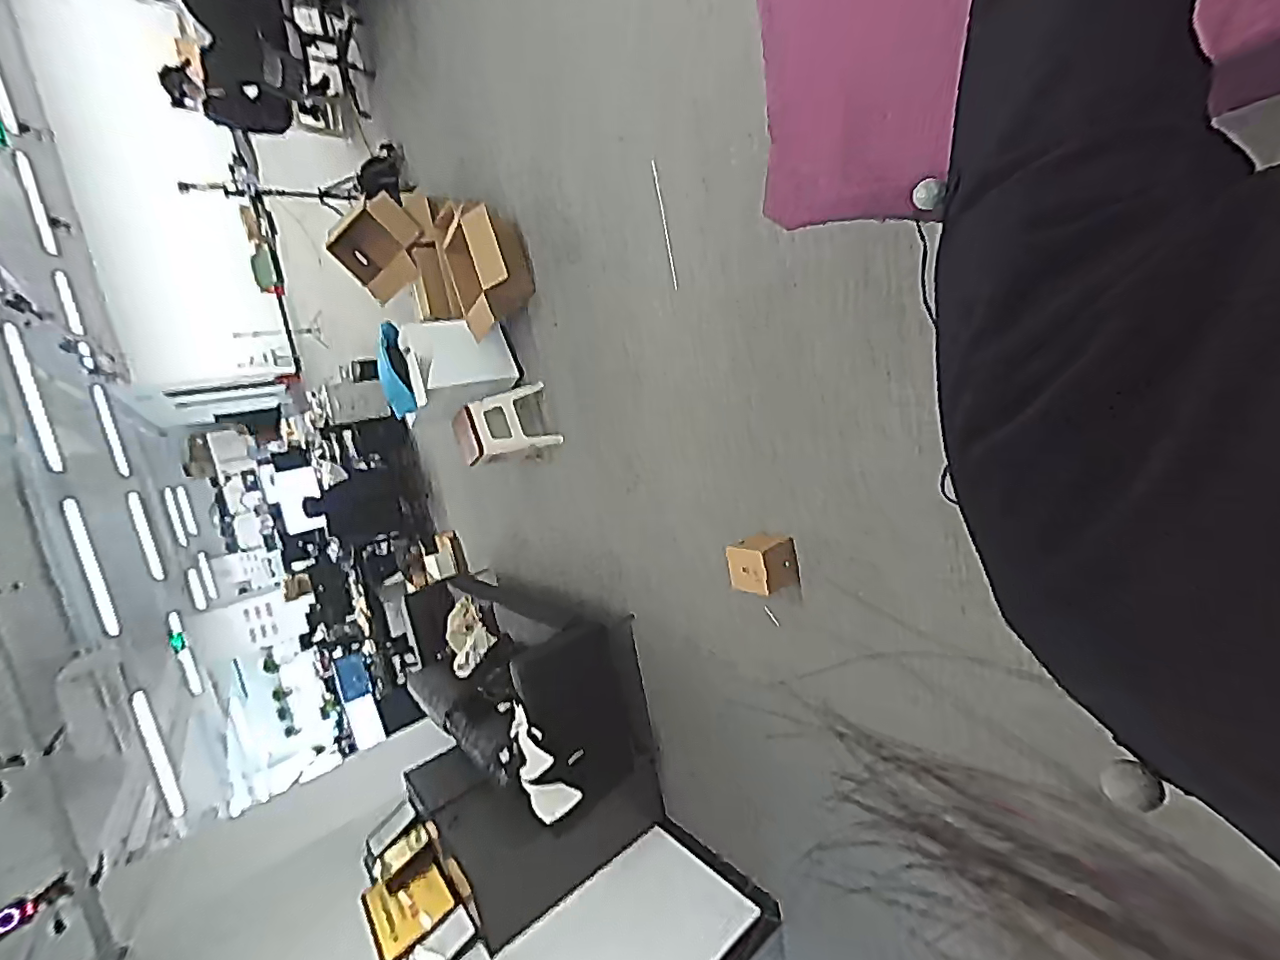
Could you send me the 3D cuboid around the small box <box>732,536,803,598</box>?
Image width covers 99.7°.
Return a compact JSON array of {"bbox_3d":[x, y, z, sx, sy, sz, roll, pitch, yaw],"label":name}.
[{"bbox_3d":[0.464,0.310,1.965,0.179,0.176,0.168,0,105,53],"label":"small box"}]
